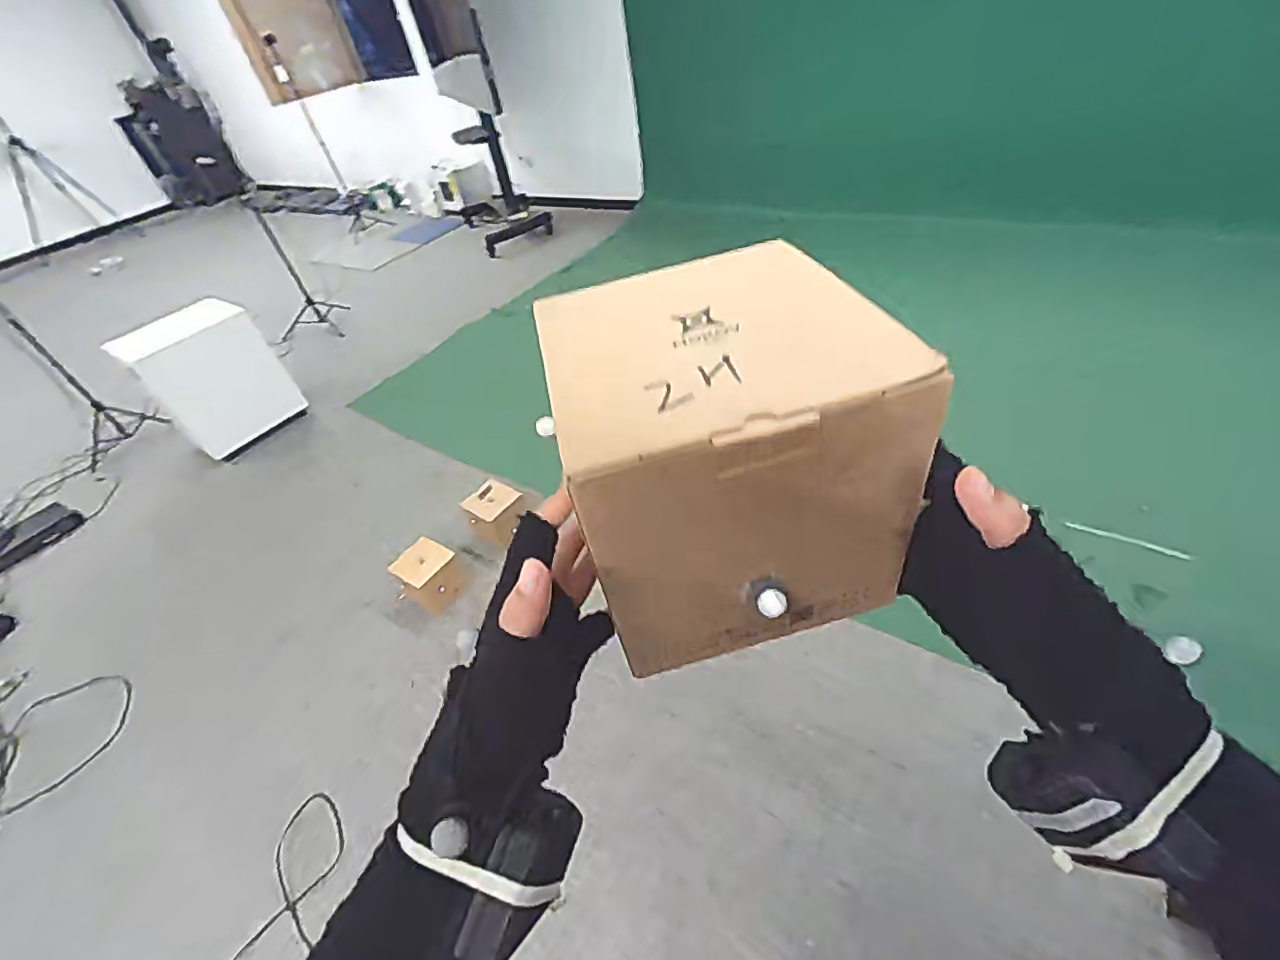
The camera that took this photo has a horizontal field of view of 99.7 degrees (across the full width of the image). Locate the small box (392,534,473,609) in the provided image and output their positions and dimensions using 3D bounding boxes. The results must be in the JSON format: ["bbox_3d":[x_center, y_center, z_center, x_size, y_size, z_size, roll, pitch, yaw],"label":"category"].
[{"bbox_3d":[-0.716,0.323,1.887,0.179,0.176,0.168,18,50,29],"label":"small box"}]

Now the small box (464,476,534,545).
[{"bbox_3d":[-0.534,0.119,2.064,0.179,0.176,0.168,23,53,30],"label":"small box"}]

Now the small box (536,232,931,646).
[{"bbox_3d":[0.042,-0.029,0.342,0.168,0.176,0.179,-16,43,-3],"label":"small box"}]
